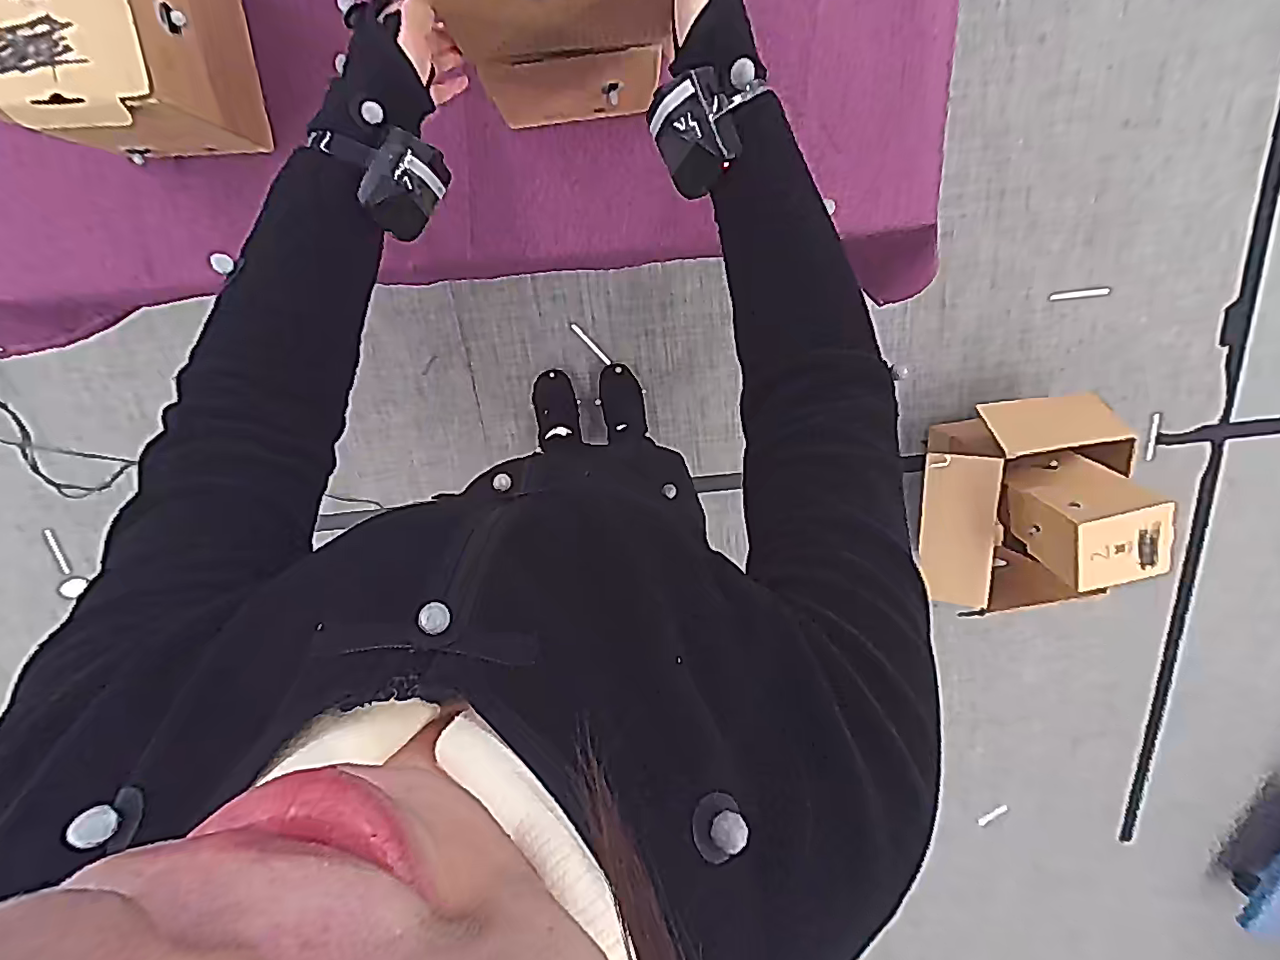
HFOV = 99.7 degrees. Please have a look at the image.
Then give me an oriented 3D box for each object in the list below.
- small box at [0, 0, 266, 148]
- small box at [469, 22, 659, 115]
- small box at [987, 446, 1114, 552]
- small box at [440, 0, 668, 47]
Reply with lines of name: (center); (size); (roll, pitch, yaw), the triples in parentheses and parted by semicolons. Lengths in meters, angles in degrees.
small box: (-0.495, -0.428, 0.507); (0.168, 0.176, 0.179); (-3, 108, -1)
small box: (-0.073, -0.468, 0.509); (0.168, 0.176, 0.179); (-7, 108, 0)
small box: (0.968, 0.036, 1.290); (0.168, 0.176, 0.179); (-25, 111, 10)
small box: (-0.066, -0.416, 0.353); (0.179, 0.176, 0.168); (-6, 109, -1)
